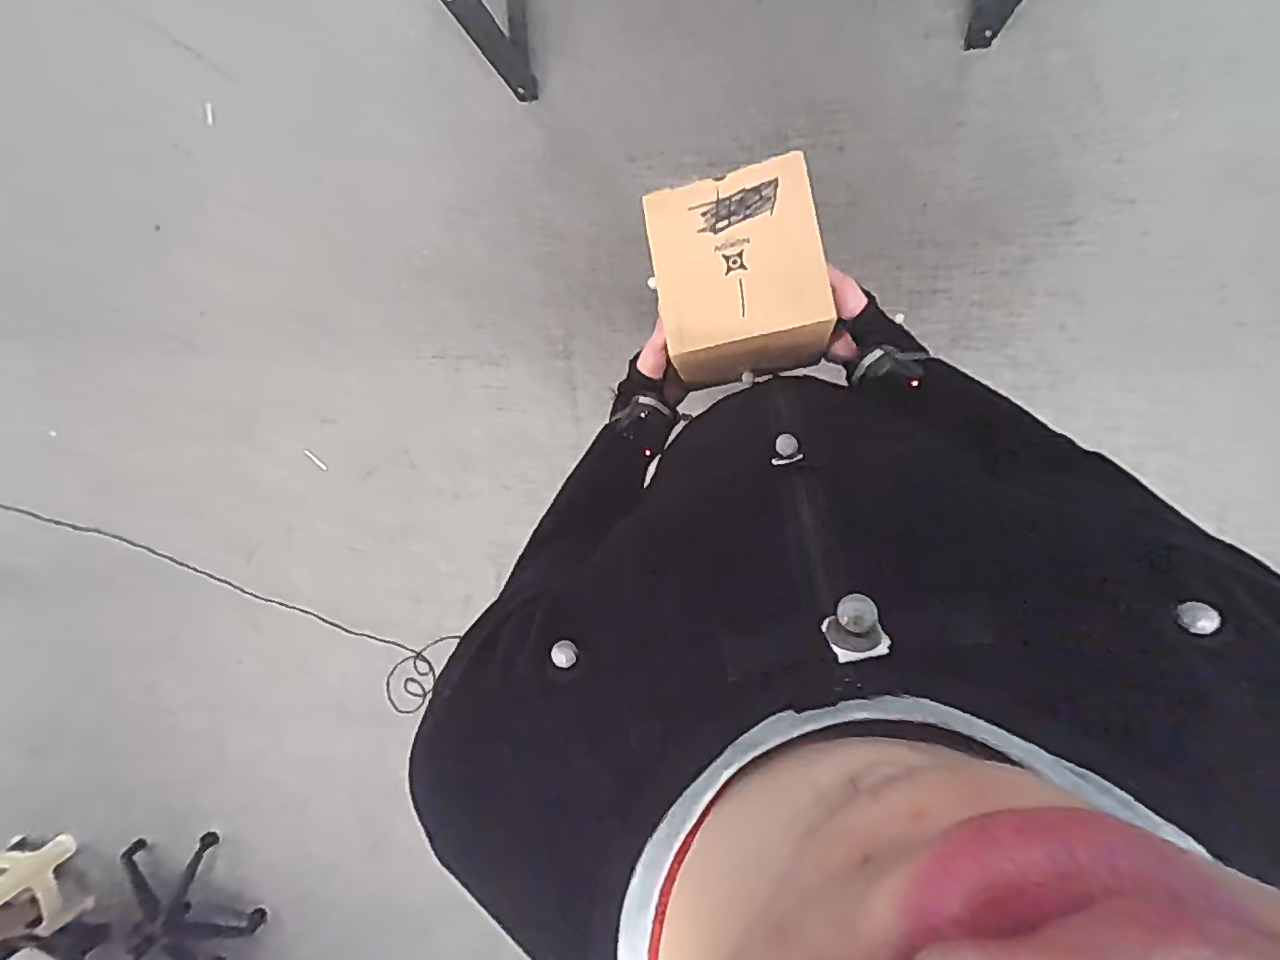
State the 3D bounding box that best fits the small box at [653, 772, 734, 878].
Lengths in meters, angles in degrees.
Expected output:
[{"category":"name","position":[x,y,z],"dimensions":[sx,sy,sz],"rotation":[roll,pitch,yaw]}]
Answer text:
[{"category":"small box","position":[0.166,1.038,1.641],"dimensions":[0.168,0.176,0.179],"rotation":[45,104,2]}]
